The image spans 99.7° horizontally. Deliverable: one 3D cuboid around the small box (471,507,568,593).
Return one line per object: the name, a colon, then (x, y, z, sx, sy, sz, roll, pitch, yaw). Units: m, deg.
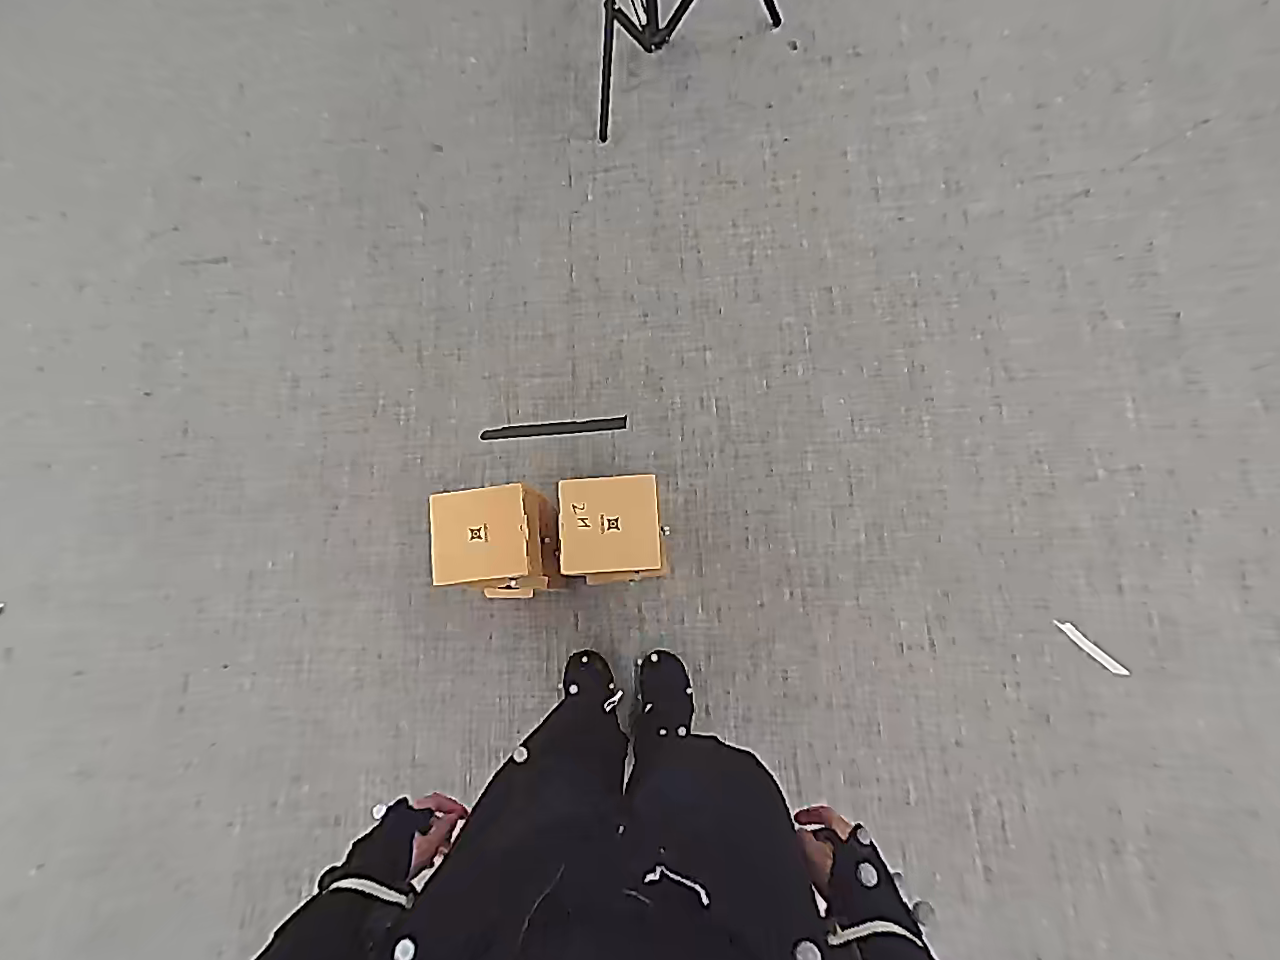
small box: (-0.256, 0.158, 1.188, 0.168, 0.176, 0.179, -1, 78, 5)
